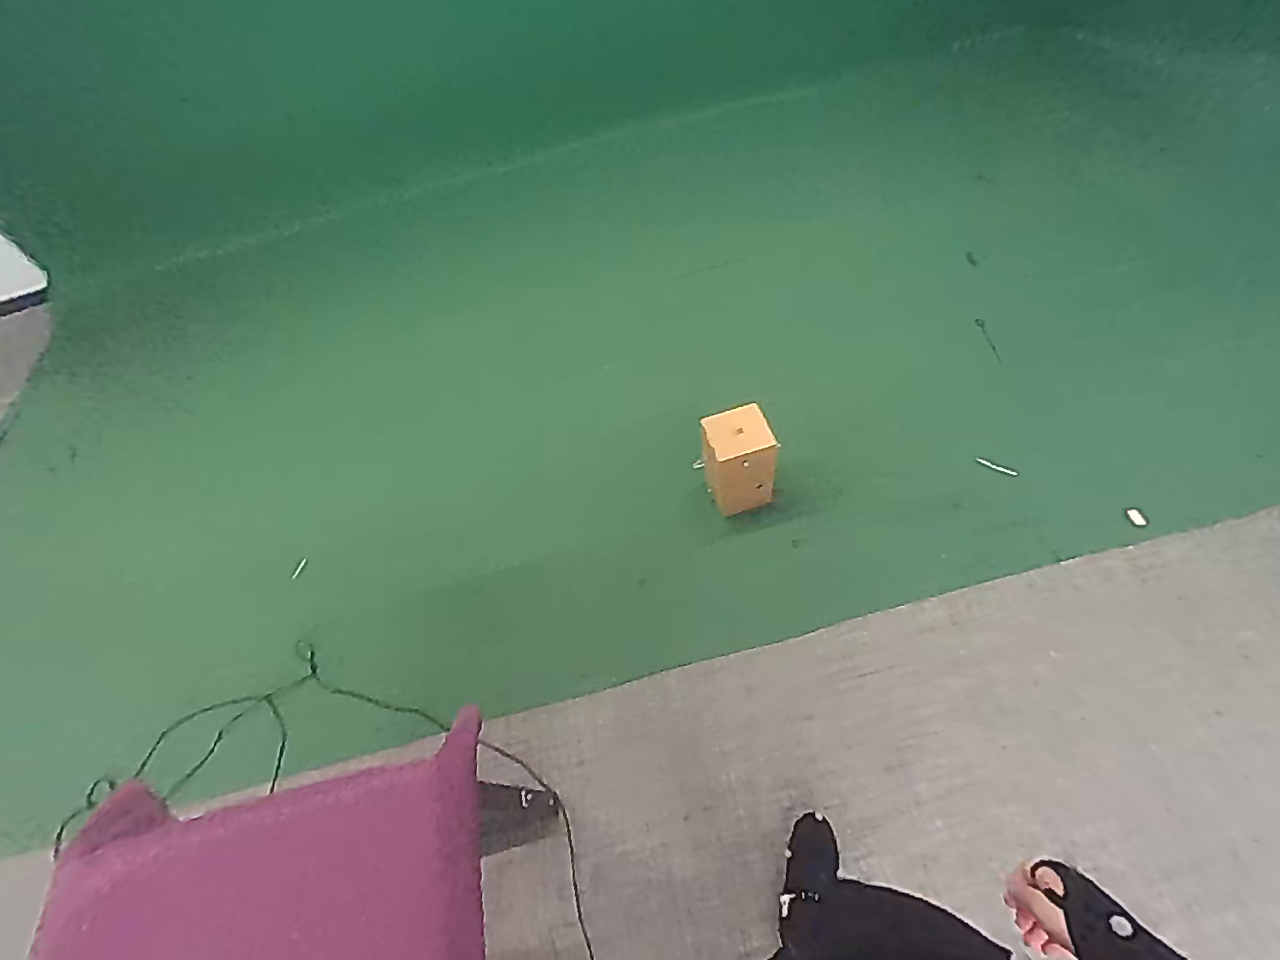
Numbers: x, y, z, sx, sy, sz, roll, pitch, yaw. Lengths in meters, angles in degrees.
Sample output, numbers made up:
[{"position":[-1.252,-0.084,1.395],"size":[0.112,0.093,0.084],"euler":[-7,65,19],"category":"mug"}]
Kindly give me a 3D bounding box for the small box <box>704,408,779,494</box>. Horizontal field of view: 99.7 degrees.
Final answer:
[{"position":[0.303,-0.083,1.627],"size":[0.179,0.176,0.168],"euler":[-18,56,0],"category":"small box"}]

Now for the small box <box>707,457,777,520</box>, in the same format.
[{"position":[0.328,0.005,1.762],"size":[0.179,0.176,0.168],"euler":[-19,55,-2],"category":"small box"}]
